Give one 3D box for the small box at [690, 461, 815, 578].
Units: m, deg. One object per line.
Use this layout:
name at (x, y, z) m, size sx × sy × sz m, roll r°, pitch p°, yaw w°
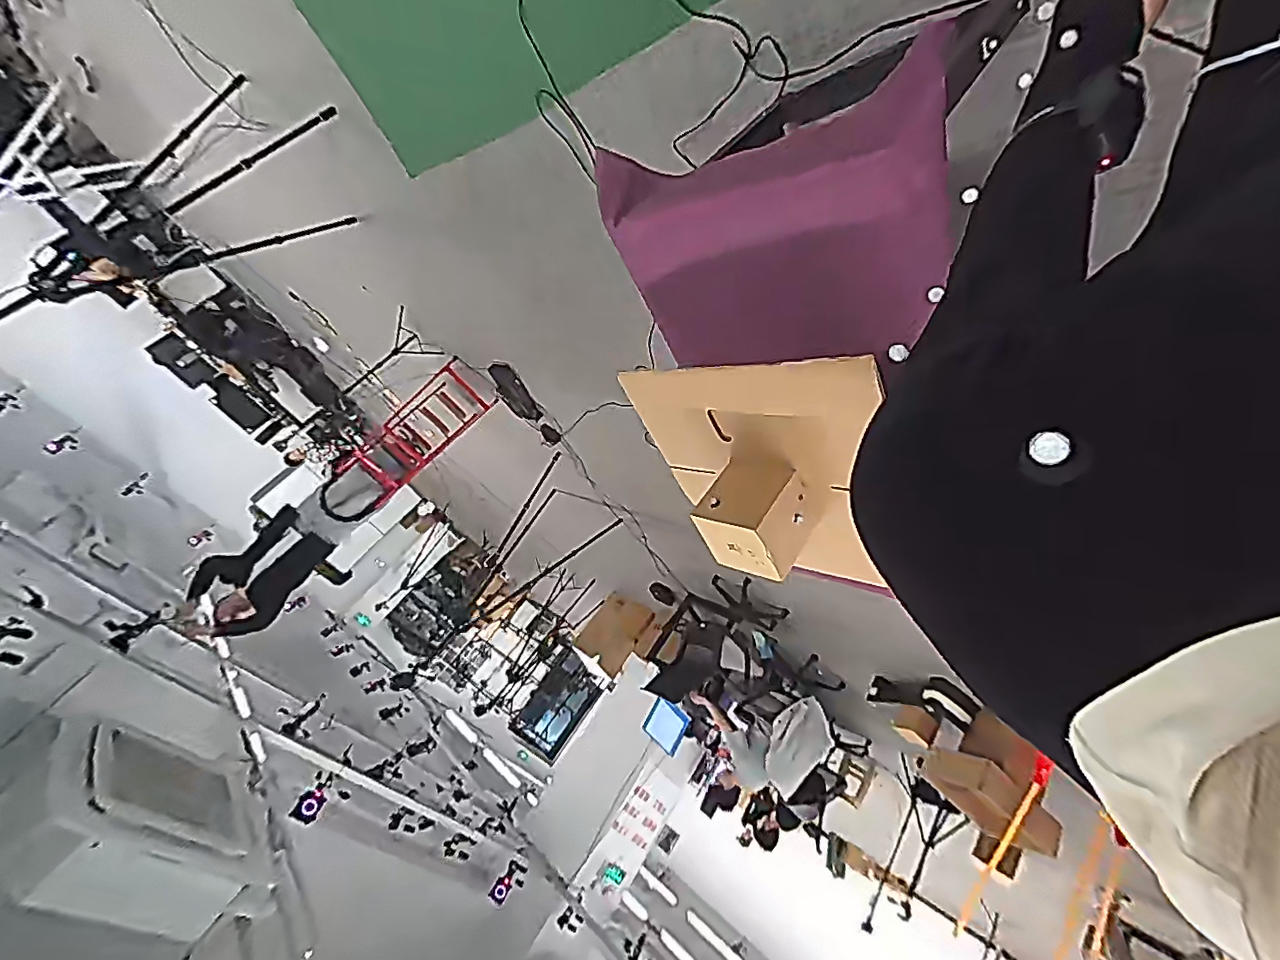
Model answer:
small box at (0.244, 0.076, 1.160) m, size 0.179 × 0.176 × 0.168 m, roll 10°, pitch 142°, yaw 46°
